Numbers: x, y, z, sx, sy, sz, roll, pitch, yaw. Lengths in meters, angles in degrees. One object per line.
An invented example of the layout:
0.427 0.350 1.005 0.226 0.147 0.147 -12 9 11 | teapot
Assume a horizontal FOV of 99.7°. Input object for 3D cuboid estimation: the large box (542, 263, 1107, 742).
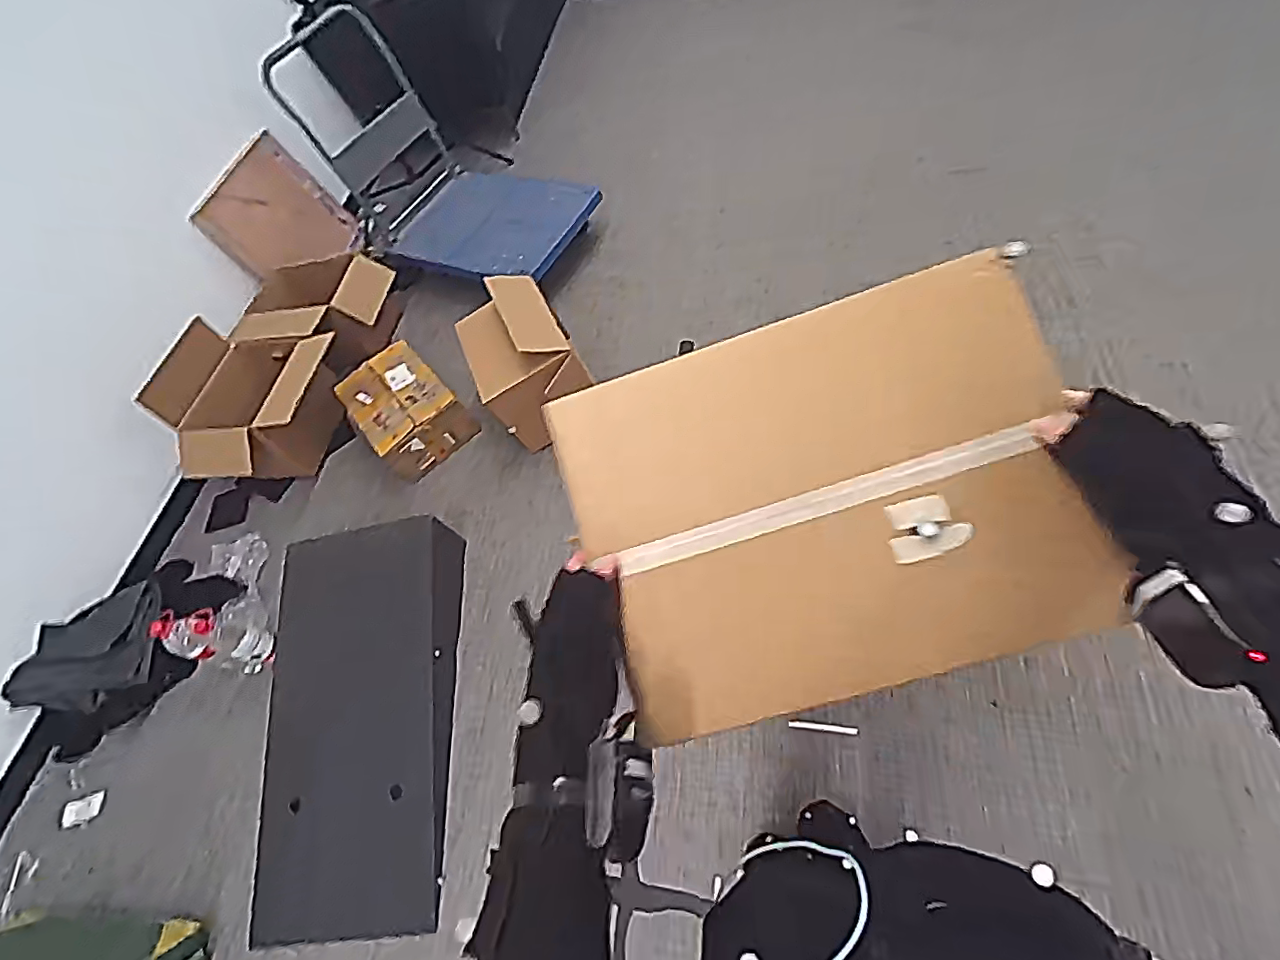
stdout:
0.158 0.034 0.613 0.408 0.320 0.320 -19 83 5 | large box
